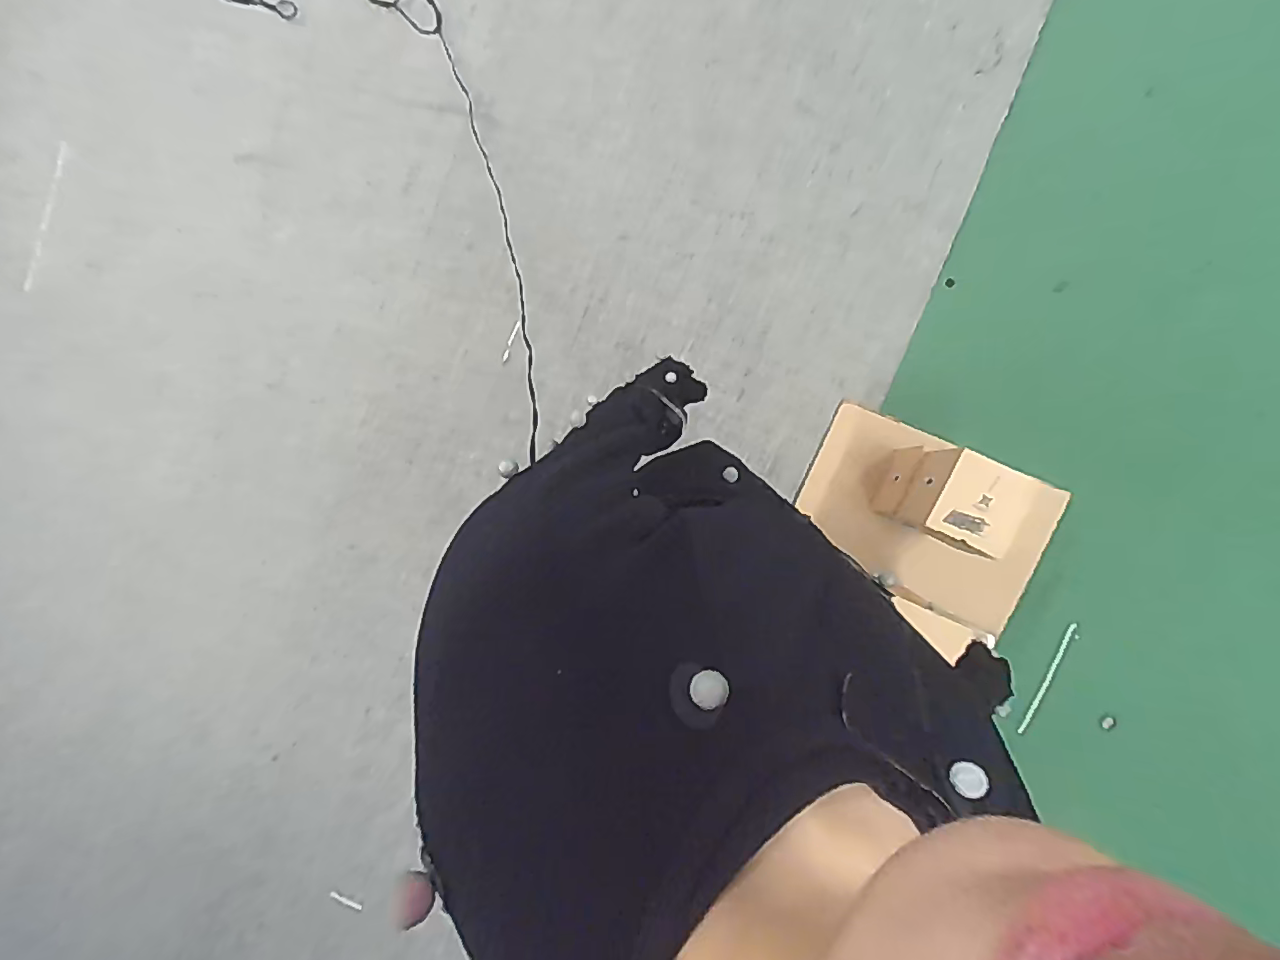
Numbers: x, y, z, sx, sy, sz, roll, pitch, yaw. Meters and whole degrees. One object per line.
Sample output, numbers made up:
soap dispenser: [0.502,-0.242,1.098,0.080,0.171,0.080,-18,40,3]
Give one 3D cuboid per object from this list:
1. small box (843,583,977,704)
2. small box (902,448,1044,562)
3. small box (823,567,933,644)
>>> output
small box: [0.568,0.339,1.164,0.179,0.176,0.168,24,94,5]
small box: [0.684,0.049,1.139,0.168,0.176,0.179,27,92,5]
small box: [0.576,0.328,1.329,0.179,0.176,0.168,22,94,6]
